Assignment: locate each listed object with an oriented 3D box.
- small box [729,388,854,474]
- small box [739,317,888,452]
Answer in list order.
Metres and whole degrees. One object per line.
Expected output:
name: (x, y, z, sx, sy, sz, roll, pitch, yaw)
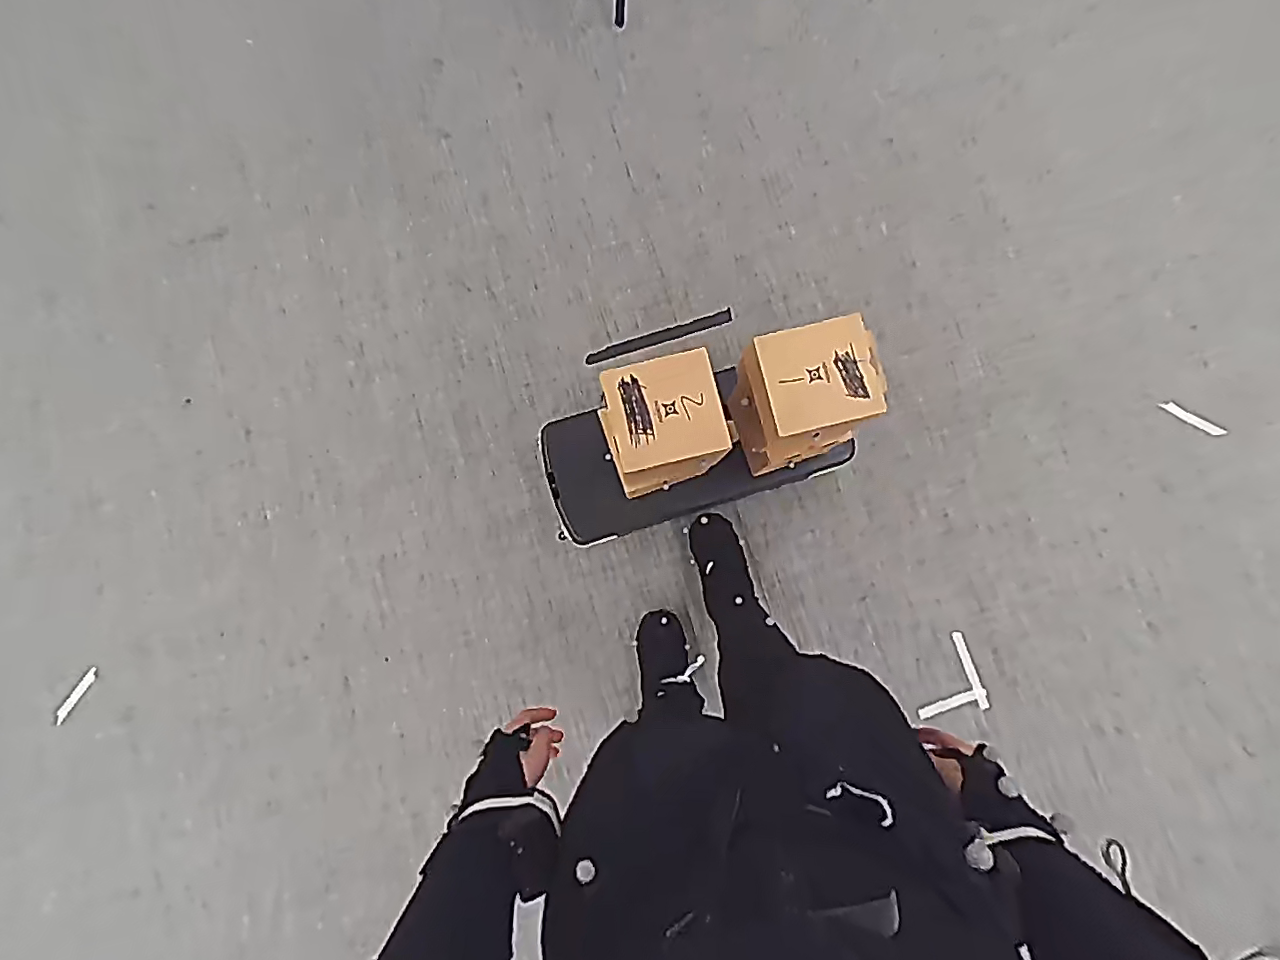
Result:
small box: (0.290, -0.123, 1.078, 0.168, 0.176, 0.179, -19, 85, -2)
small box: (0.281, -0.153, 0.916, 0.179, 0.176, 0.168, -13, 84, 0)
